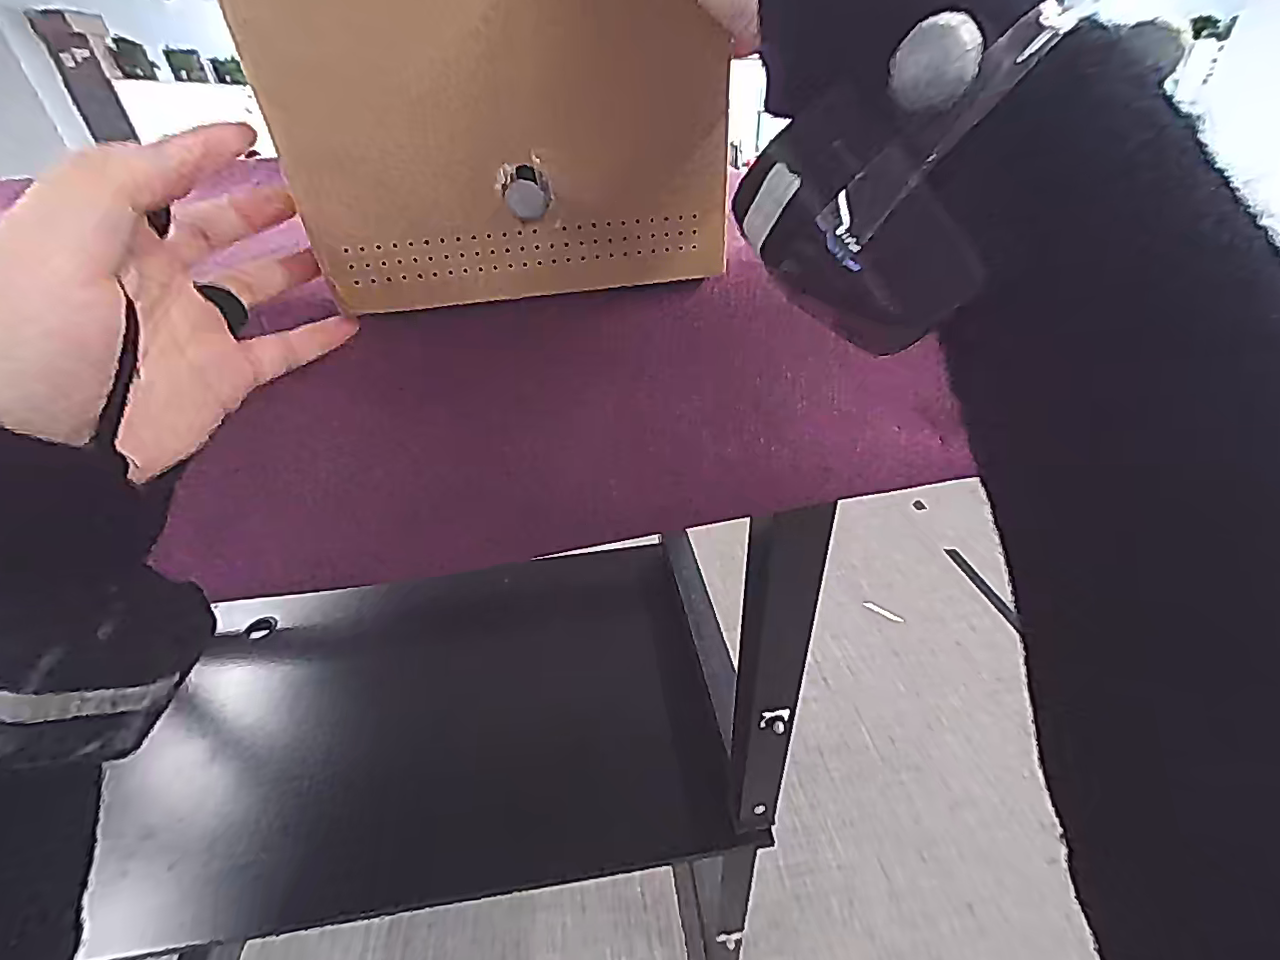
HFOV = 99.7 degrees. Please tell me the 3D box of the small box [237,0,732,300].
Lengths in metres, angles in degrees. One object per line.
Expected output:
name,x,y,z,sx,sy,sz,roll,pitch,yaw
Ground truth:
small box,-0.061,-0.197,0.259,0.179,0.176,0.168,-9,35,-8
